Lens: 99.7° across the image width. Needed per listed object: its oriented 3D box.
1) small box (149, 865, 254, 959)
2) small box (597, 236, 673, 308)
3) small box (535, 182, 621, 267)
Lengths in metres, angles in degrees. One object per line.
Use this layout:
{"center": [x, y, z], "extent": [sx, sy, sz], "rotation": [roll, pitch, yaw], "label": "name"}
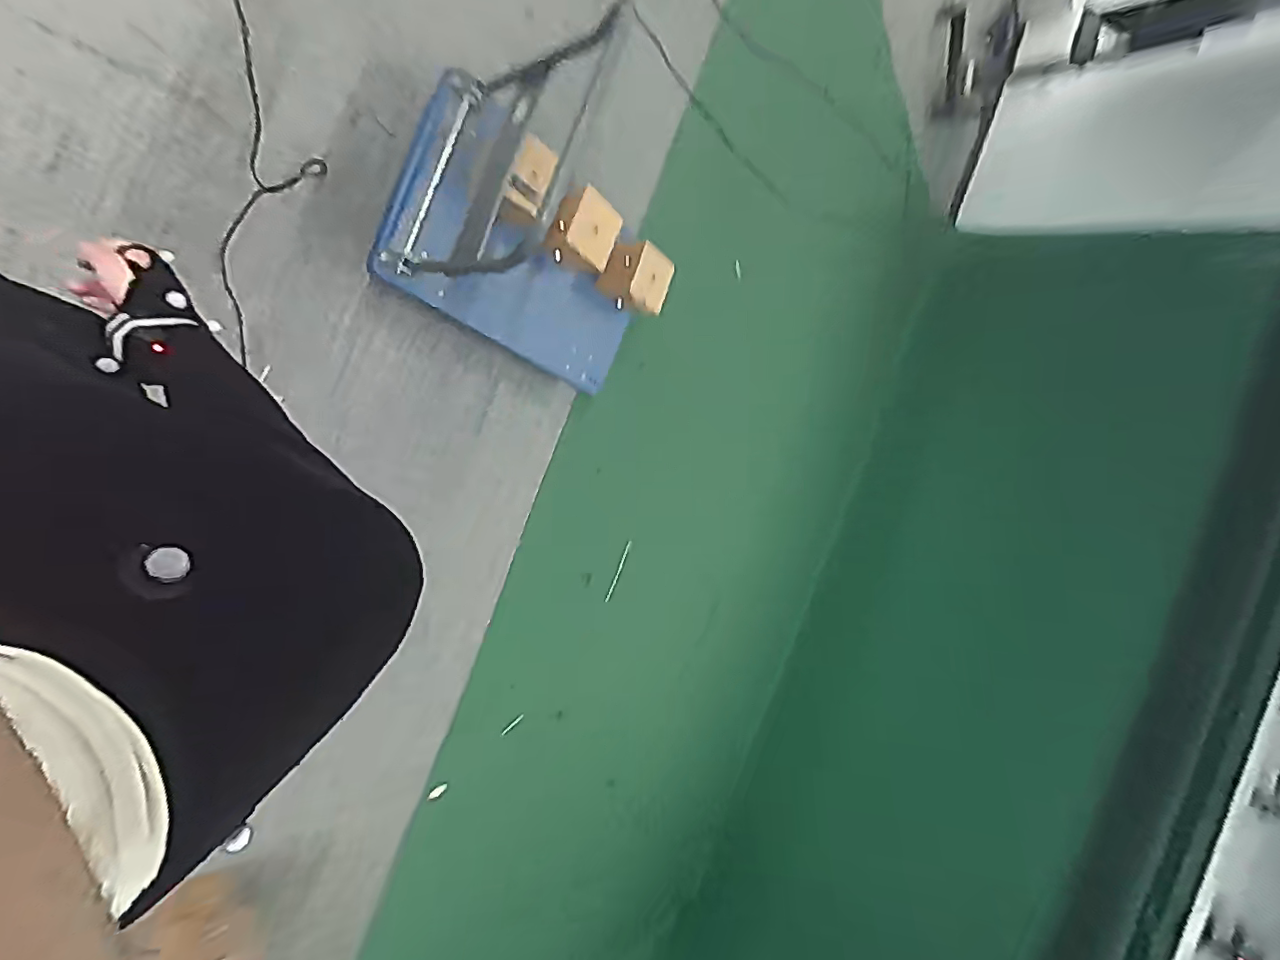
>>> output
{"center": [-1.265, 1.256, 1.558], "extent": [0.179, 0.176, 0.168], "rotation": [29, 82, -50], "label": "small box"}
{"center": [-0.021, -0.713, 1.862], "extent": [0.168, 0.176, 0.179], "rotation": [21, 90, -49], "label": "small box"}
{"center": [-0.194, -0.775, 1.651], "extent": [0.168, 0.176, 0.179], "rotation": [22, 90, -50], "label": "small box"}
